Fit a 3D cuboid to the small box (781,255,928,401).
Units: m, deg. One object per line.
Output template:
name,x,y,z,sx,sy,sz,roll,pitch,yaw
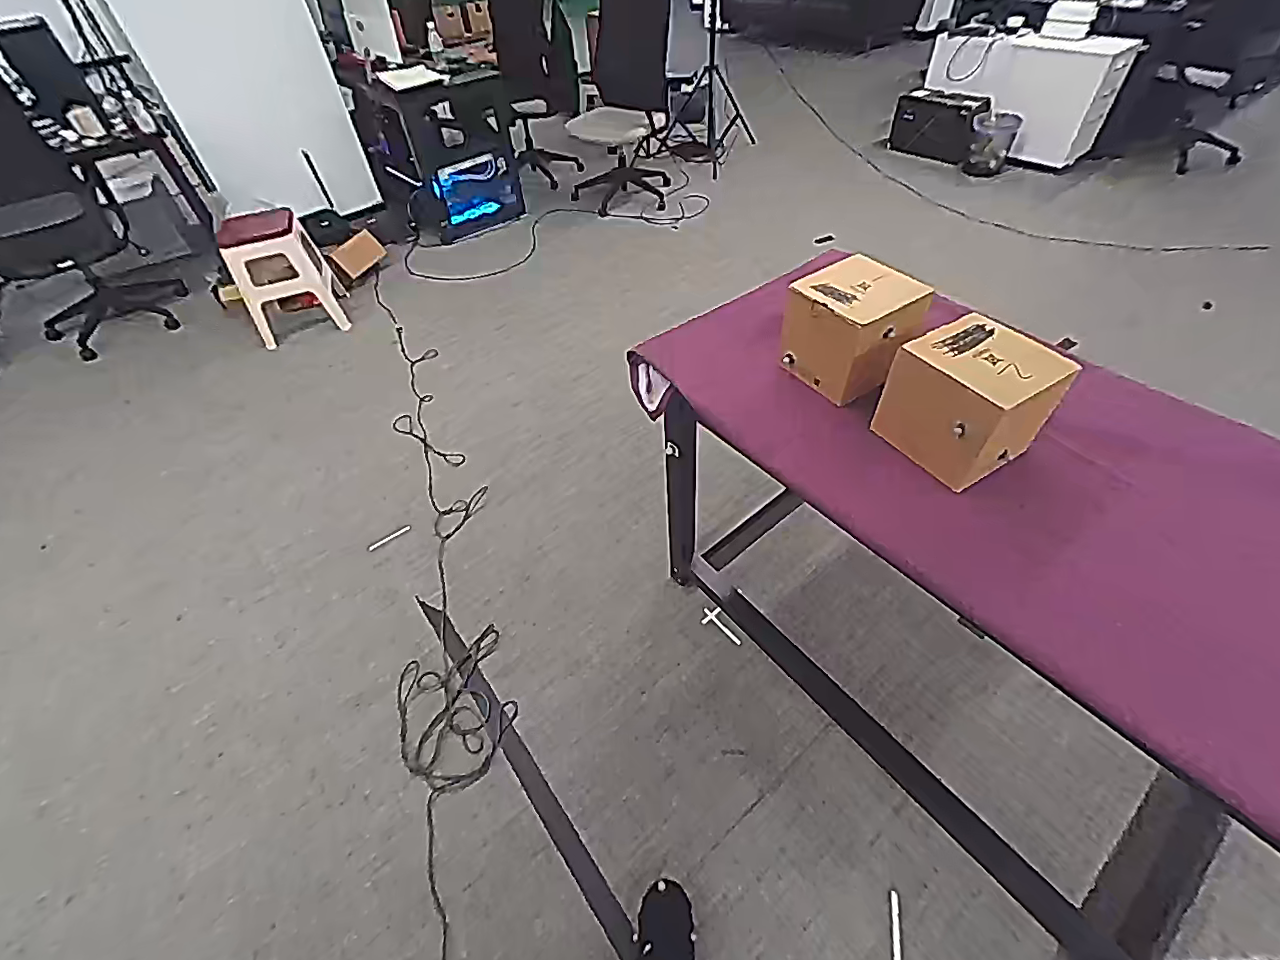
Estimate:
small box,0.371,-0.271,0.974,0.179,0.176,0.168,-28,52,-19
